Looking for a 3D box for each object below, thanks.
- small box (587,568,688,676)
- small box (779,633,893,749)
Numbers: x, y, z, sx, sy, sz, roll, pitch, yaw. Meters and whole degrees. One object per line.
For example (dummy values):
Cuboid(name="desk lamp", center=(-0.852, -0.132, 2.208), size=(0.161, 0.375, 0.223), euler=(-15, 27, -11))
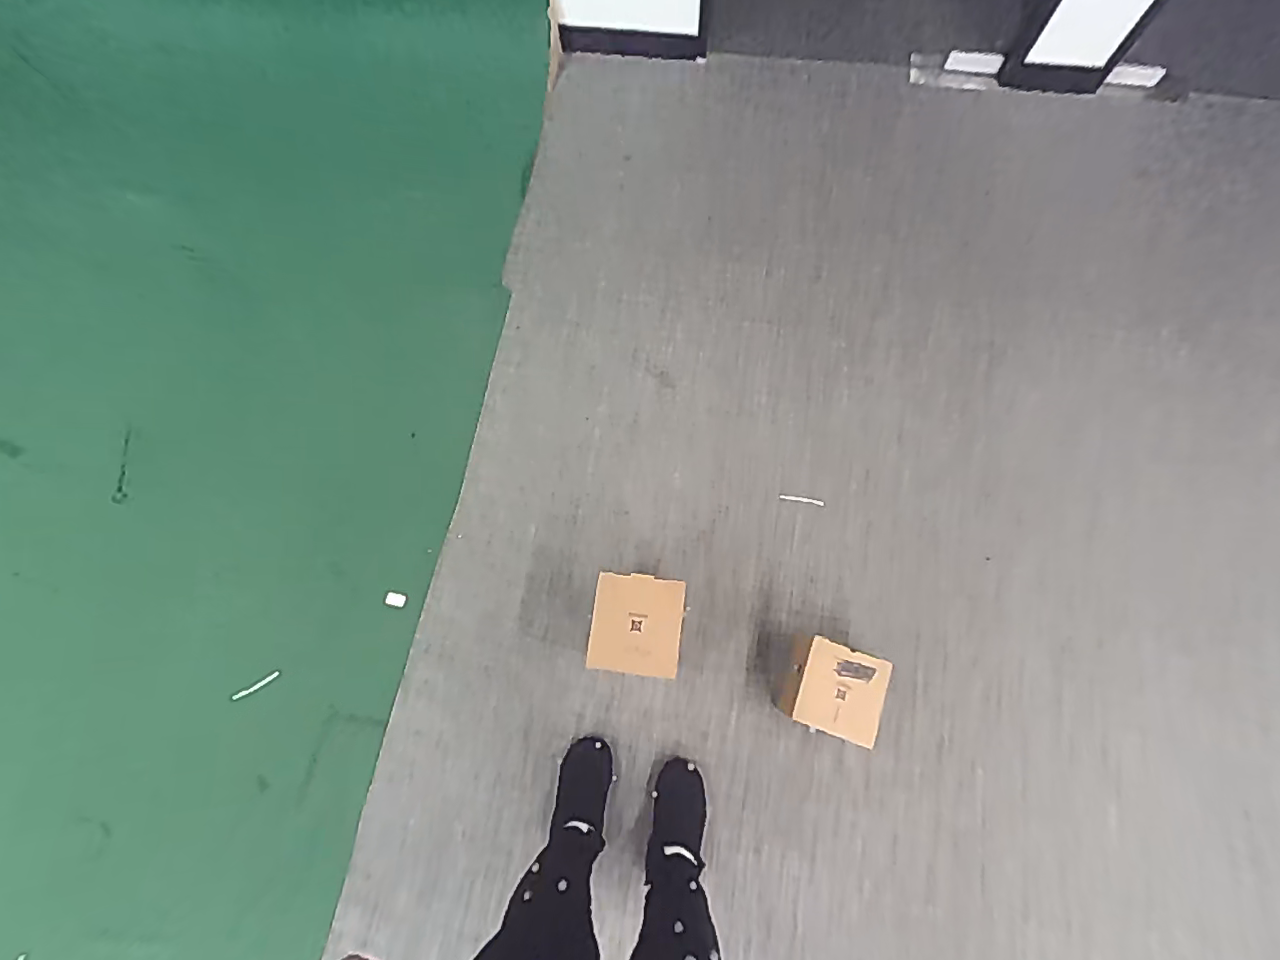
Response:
Cuboid(name="small box", center=(-0.001, 0.276, 1.051), size=(0.168, 0.176, 0.179), euler=(6, 74, 5))
Cuboid(name="small box", center=(0.409, 0.440, 1.156), size=(0.168, 0.176, 0.179), euler=(19, 76, 8))
